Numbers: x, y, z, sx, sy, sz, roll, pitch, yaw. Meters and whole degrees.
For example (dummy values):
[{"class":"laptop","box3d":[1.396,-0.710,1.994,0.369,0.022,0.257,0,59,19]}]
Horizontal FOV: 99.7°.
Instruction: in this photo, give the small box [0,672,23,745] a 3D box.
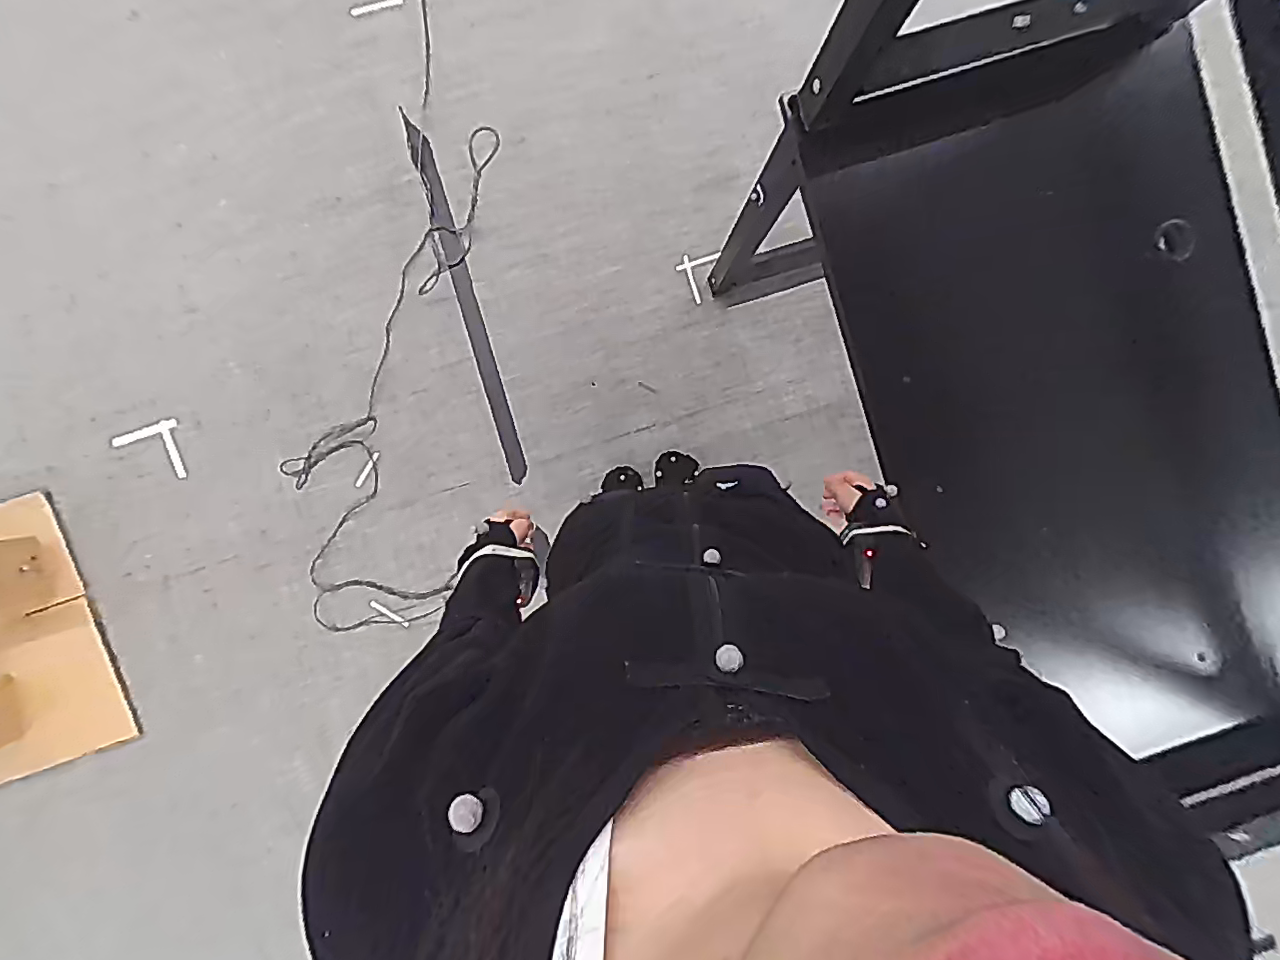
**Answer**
[{"class":"small box","box3d":[-1.712,0.605,1.342,0.168,0.176,0.179,-9,94,-3]}]

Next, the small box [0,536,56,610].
[{"class":"small box","box3d":[-1.633,0.247,1.335,0.179,0.176,0.168,-18,94,-3]}]
